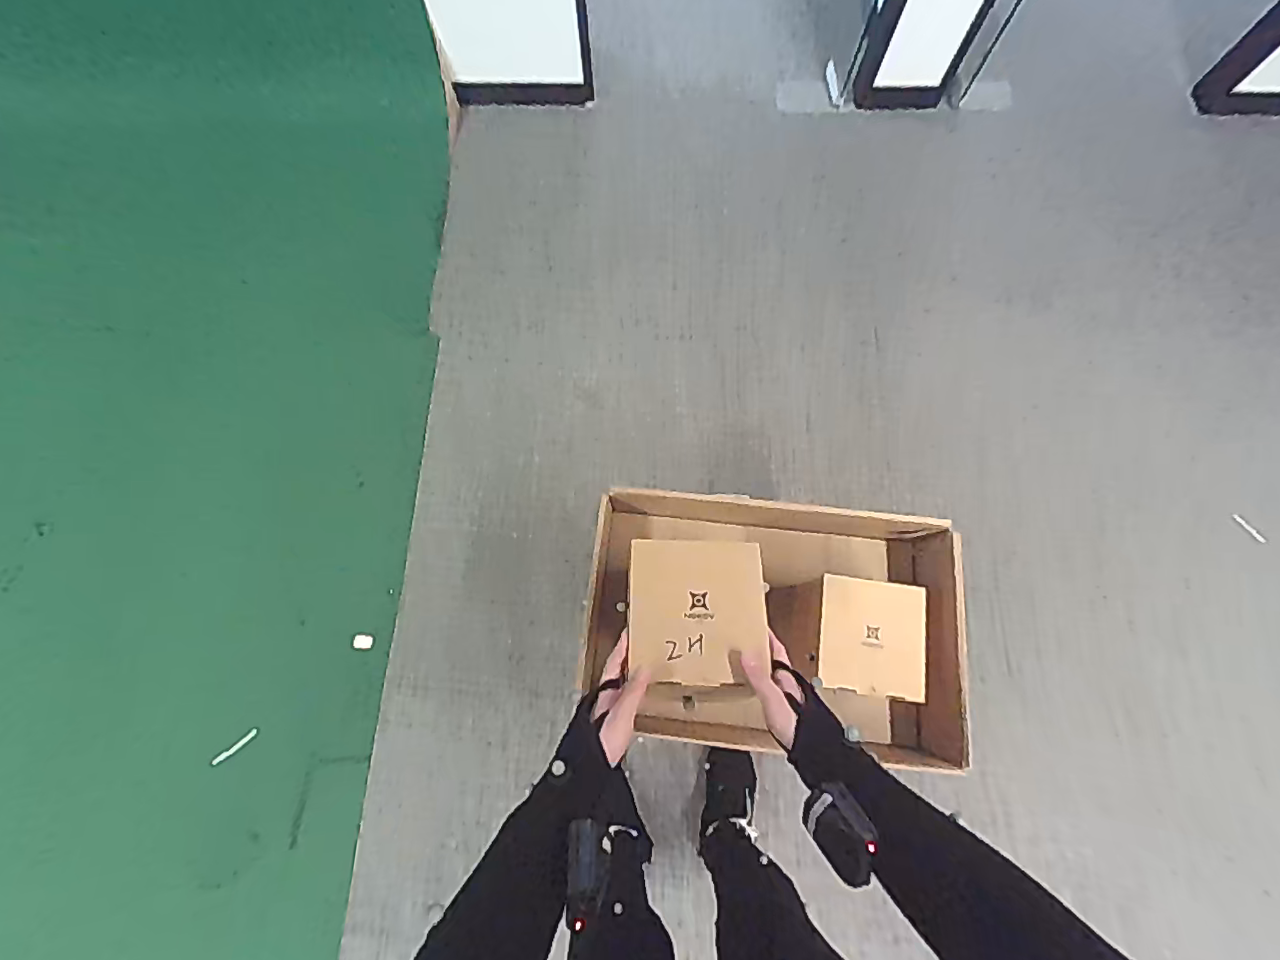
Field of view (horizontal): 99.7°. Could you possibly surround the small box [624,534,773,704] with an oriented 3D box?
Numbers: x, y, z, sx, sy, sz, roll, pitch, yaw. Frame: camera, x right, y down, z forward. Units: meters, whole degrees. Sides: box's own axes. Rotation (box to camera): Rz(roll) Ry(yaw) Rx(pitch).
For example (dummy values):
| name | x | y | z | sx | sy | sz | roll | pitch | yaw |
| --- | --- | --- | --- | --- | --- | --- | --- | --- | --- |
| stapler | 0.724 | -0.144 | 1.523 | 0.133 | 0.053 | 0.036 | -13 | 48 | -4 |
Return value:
| name | x | y | z | sx | sy | sz | roll | pitch | yaw |
| --- | --- | --- | --- | --- | --- | --- | --- | --- | --- |
| small box | 0.066 | 0.186 | 0.709 | 0.168 | 0.176 | 0.179 | 2 | 61 | -1 |
